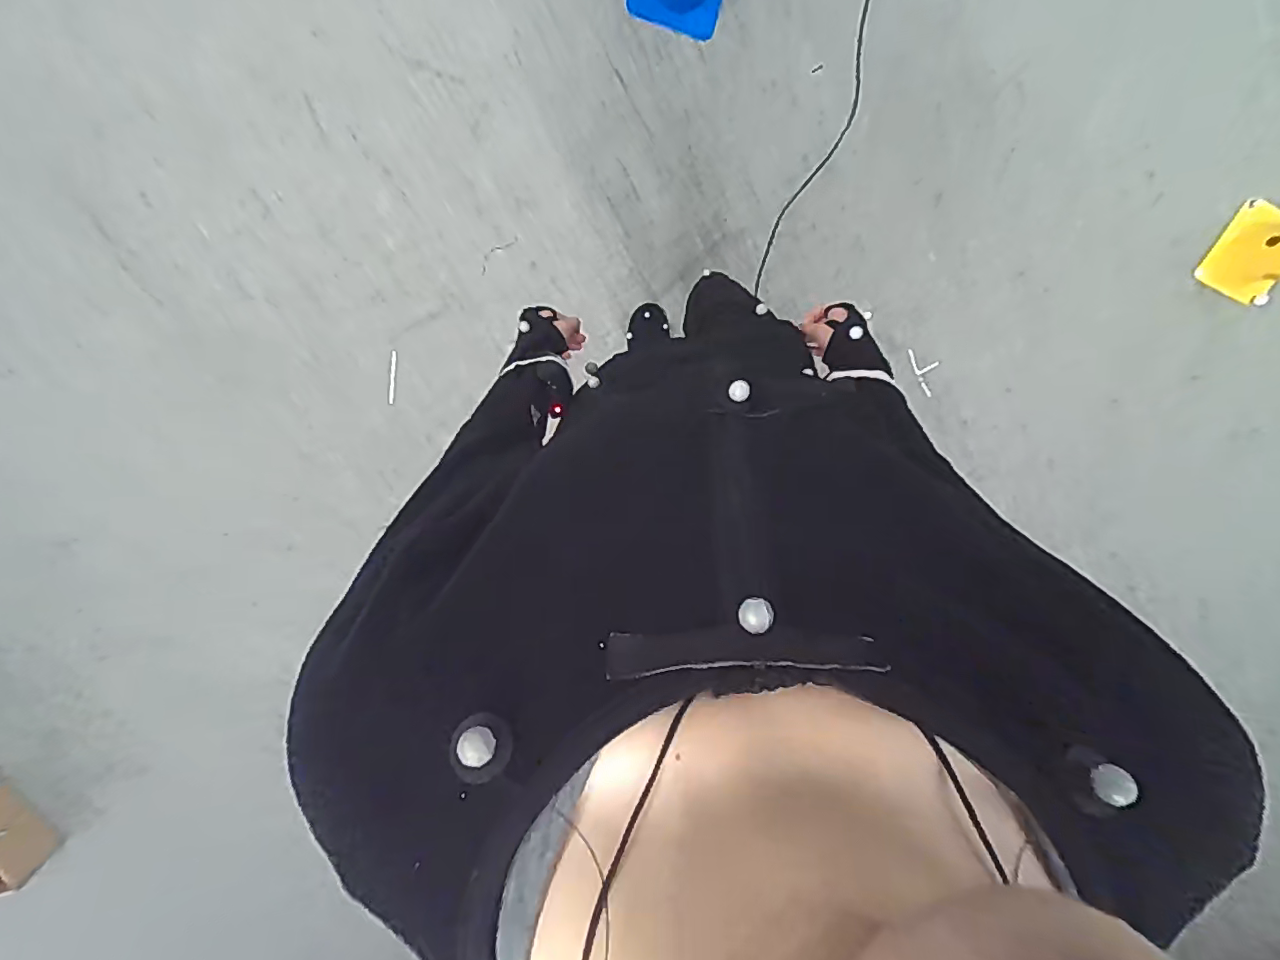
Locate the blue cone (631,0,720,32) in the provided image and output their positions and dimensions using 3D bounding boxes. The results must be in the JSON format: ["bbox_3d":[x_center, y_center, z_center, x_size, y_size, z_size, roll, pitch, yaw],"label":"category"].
[{"bbox_3d":[0.078,-0.996,0.968,0.193,0.380,0.192,15,111,-3],"label":"blue cone"}]
